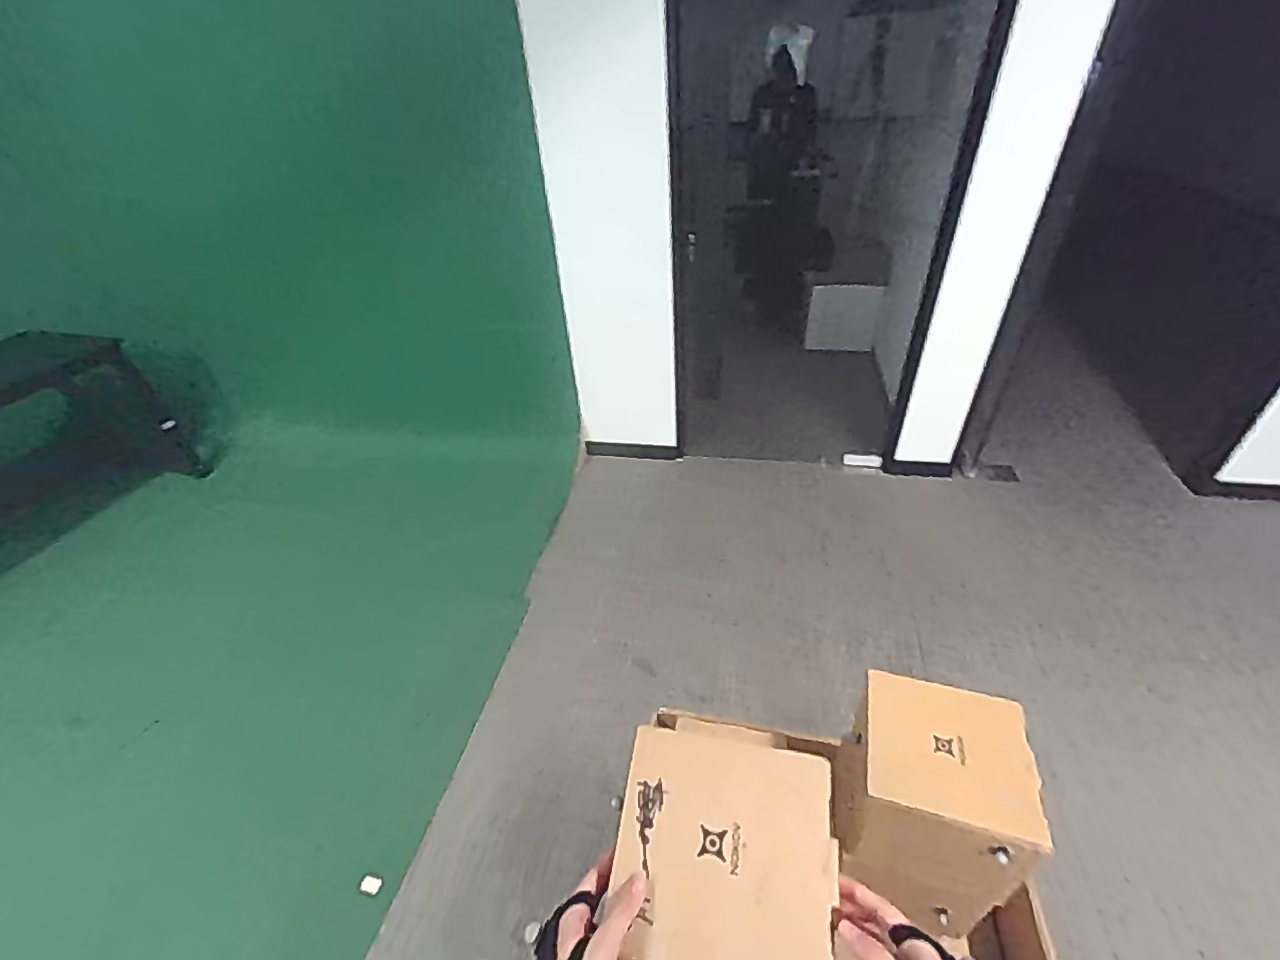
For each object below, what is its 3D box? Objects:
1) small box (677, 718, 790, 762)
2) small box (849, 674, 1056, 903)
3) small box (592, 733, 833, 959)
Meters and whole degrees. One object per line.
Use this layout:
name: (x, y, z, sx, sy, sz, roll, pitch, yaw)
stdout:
small box: (0.127, 0.489, 0.798, 0.168, 0.176, 0.179, 6, 40, 12)
small box: (0.359, 0.373, 0.660, 0.179, 0.176, 0.168, 9, 39, 18)
small box: (0.067, 0.356, 0.496, 0.179, 0.176, 0.168, 6, 49, 9)
